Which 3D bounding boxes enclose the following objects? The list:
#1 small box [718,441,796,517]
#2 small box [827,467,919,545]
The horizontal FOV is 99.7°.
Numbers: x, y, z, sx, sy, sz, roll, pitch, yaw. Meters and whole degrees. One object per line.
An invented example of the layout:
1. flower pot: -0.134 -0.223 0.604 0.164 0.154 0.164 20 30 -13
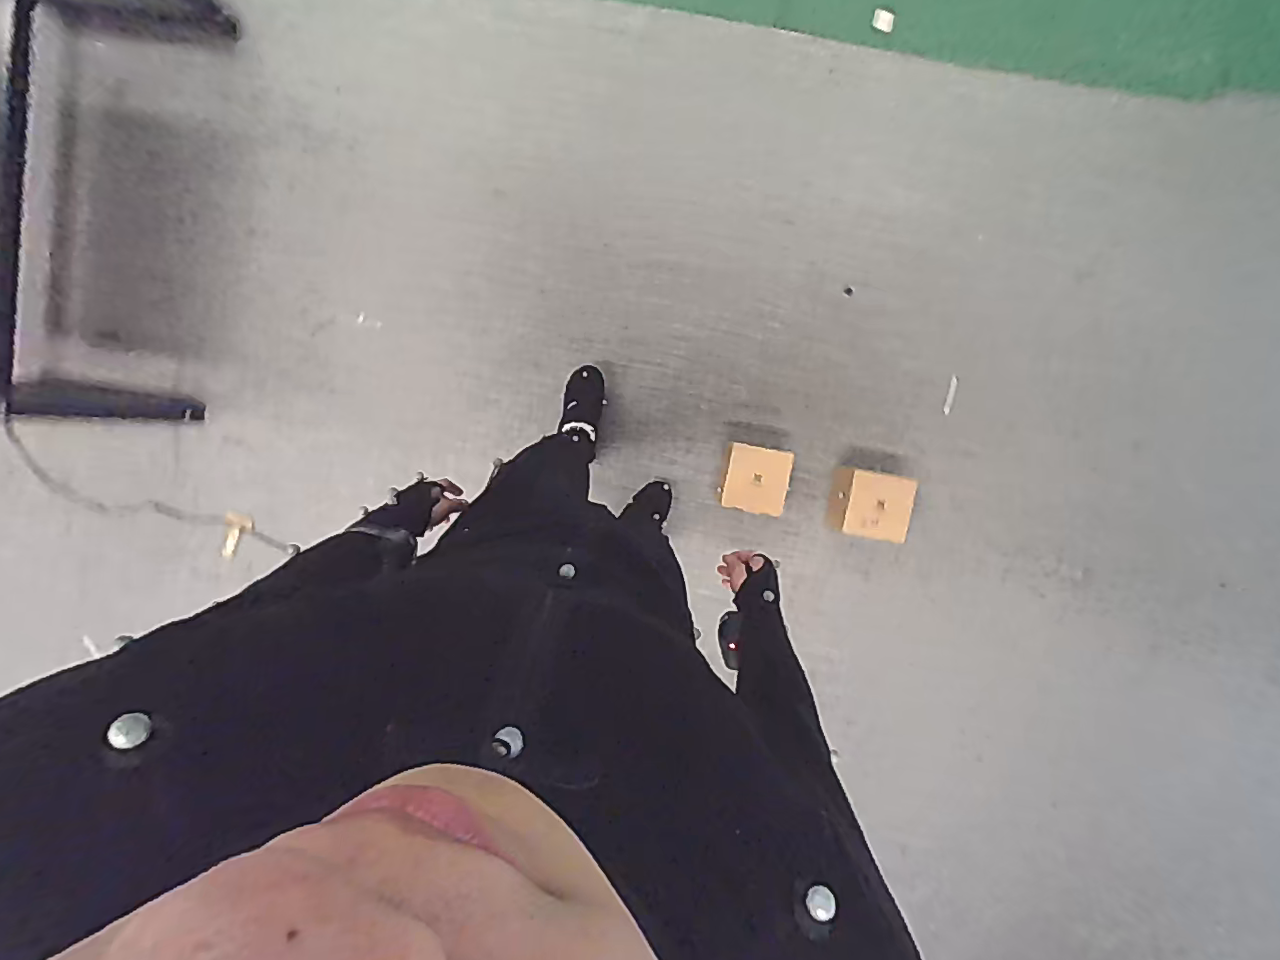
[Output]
1. small box: 0.319 -0.010 1.507 0.168 0.176 0.179 11 96 2
2. small box: 0.635 0.064 1.494 0.168 0.176 0.179 12 96 2
